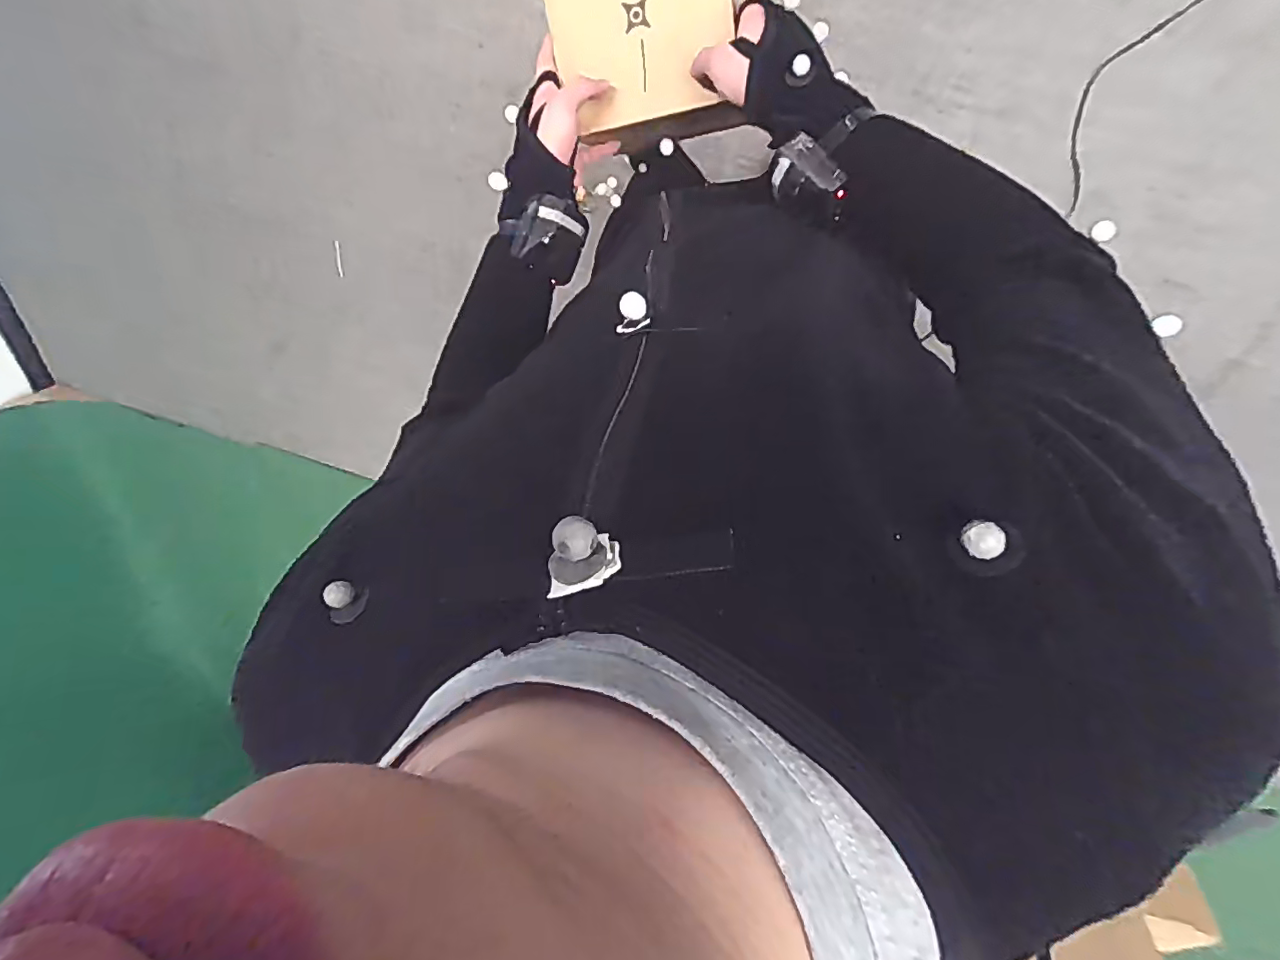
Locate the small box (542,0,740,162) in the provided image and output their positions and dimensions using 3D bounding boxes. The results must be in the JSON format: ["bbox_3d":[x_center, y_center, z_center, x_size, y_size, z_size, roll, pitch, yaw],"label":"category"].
[{"bbox_3d":[0.011,-0.448,0.556,0.168,0.176,0.179,-3,114,16],"label":"small box"}]
